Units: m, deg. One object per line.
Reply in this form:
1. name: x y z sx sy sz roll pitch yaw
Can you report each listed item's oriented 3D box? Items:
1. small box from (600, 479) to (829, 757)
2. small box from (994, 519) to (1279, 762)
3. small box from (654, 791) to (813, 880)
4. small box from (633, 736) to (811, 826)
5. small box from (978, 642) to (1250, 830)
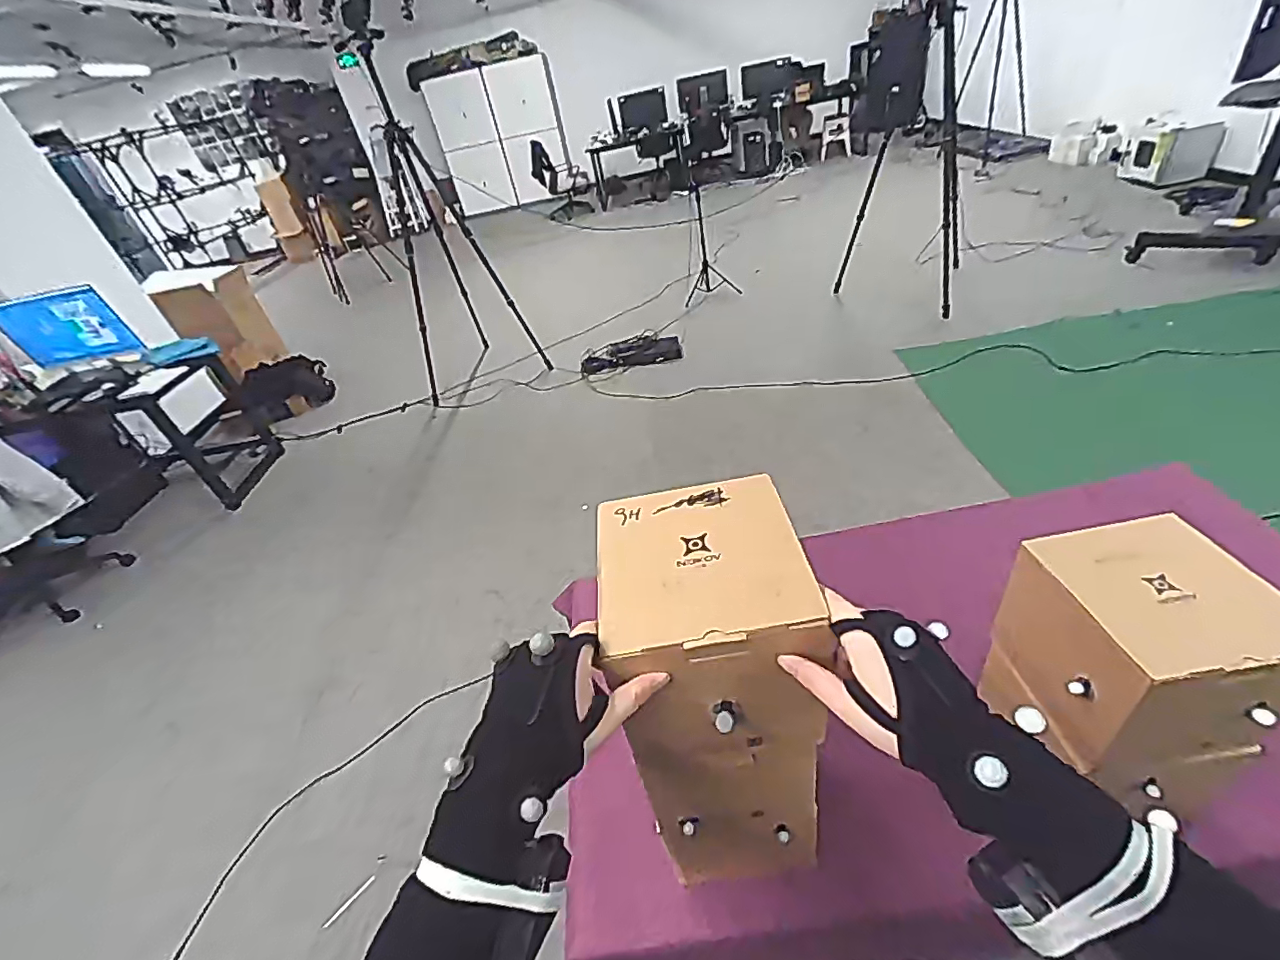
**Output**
1. small box: 0.061 0.128 0.490 0.168 0.176 0.179 -10 38 3
2. small box: 0.514 0.171 0.566 0.168 0.176 0.179 -11 36 3
3. small box: 0.113 0.382 0.692 0.179 0.176 0.168 -10 37 3
4. small box: 0.084 0.253 0.595 0.168 0.176 0.179 -10 35 3
5. small box: 0.544 0.302 0.660 0.179 0.176 0.168 -10 38 5
